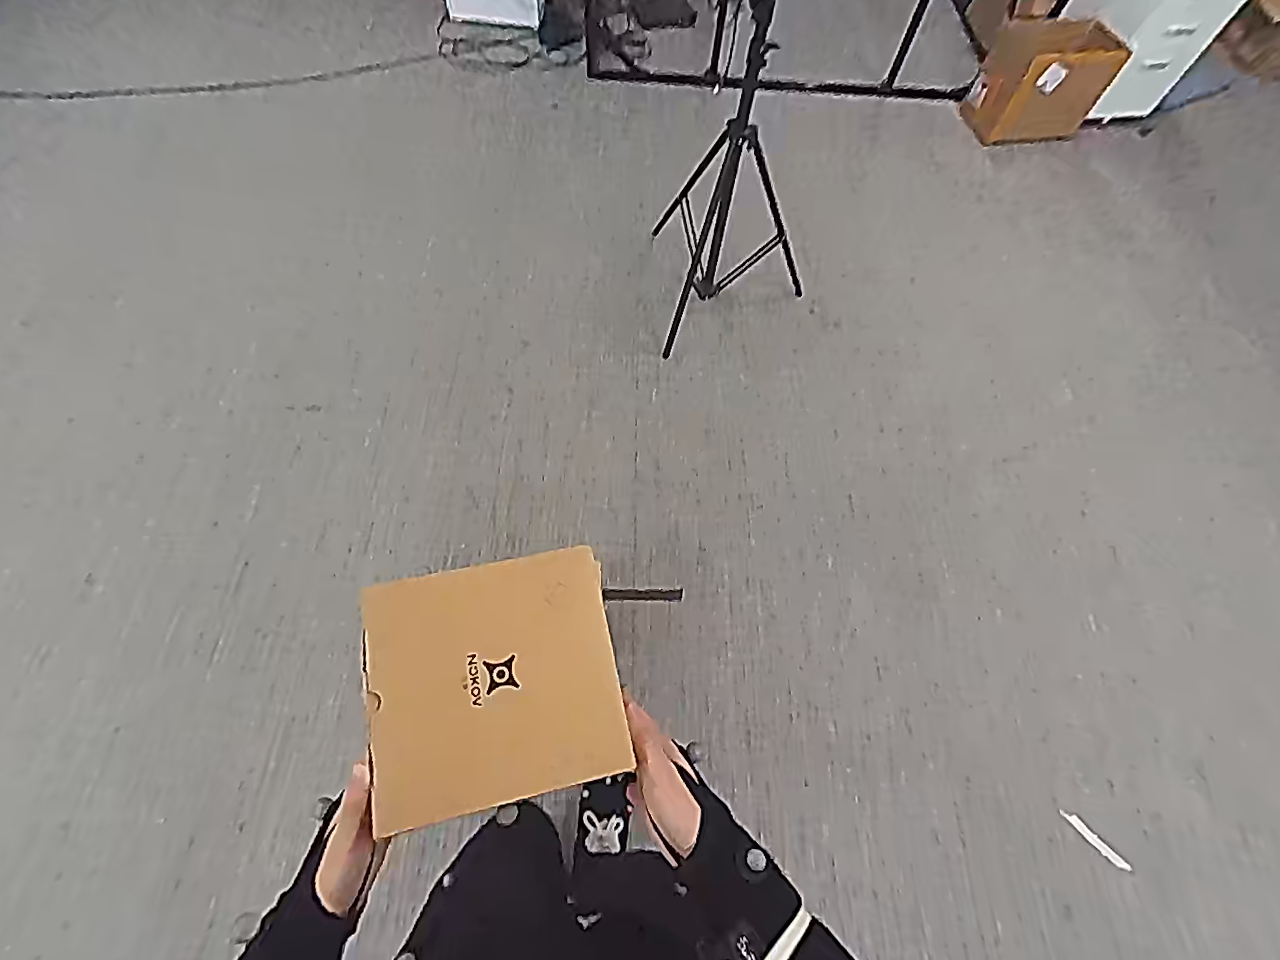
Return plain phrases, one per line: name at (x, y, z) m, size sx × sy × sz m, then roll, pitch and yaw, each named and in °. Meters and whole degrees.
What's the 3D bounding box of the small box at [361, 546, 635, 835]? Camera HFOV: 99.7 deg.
small box at (-0.113, 0.168, 0.462) m, size 0.179 × 0.176 × 0.168 m, roll -11°, pitch 70°, yaw -10°
